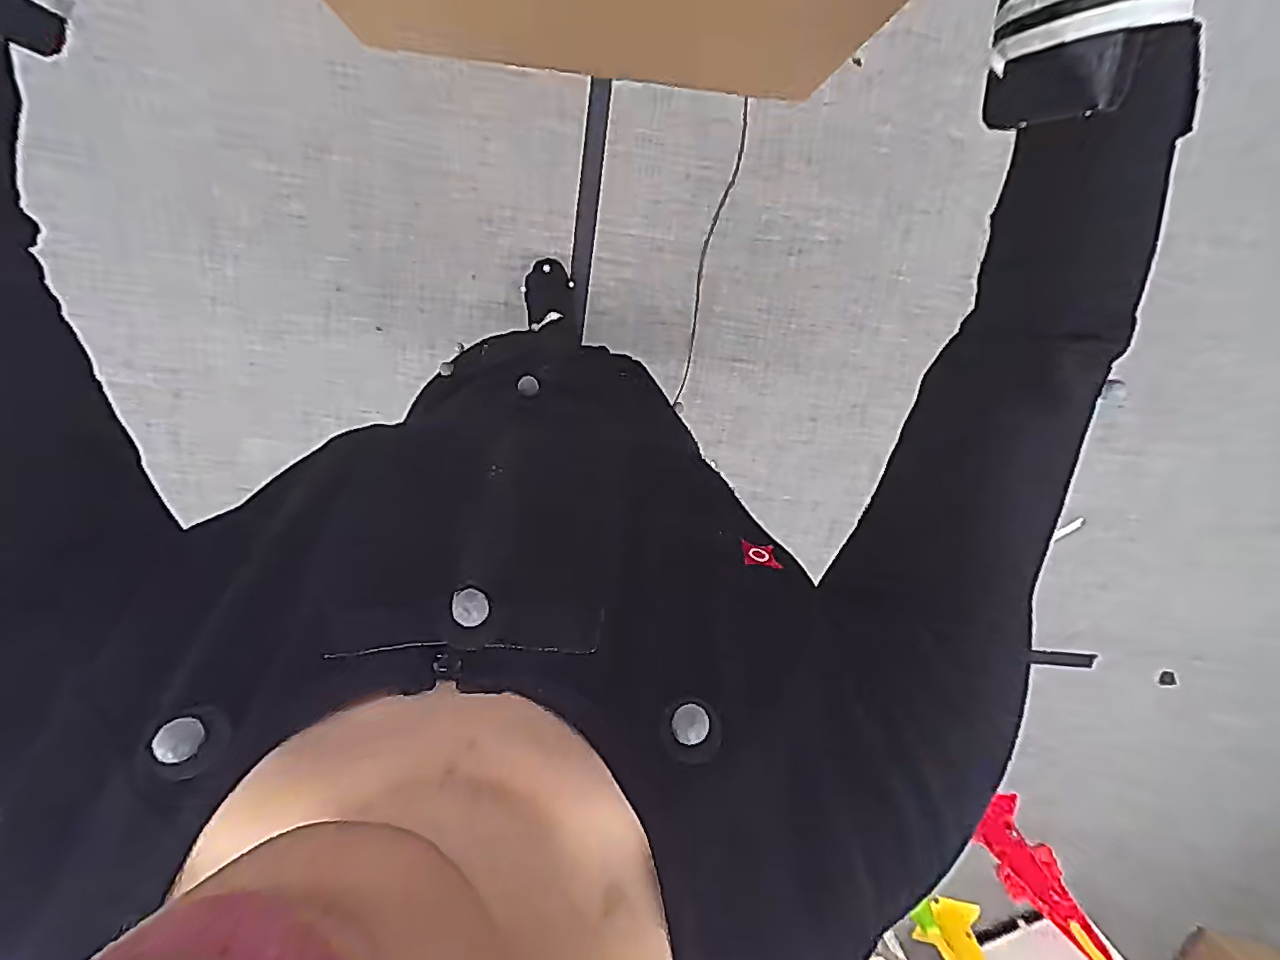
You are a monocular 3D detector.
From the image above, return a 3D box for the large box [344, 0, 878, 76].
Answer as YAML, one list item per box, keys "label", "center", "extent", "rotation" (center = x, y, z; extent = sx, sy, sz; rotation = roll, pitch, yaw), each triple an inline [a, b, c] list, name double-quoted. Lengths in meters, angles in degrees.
- label: "large box"
  center: [-0.019, -0.476, 0.298]
  extent: [0.408, 0.320, 0.320]
  rotation: [2, 109, -6]
